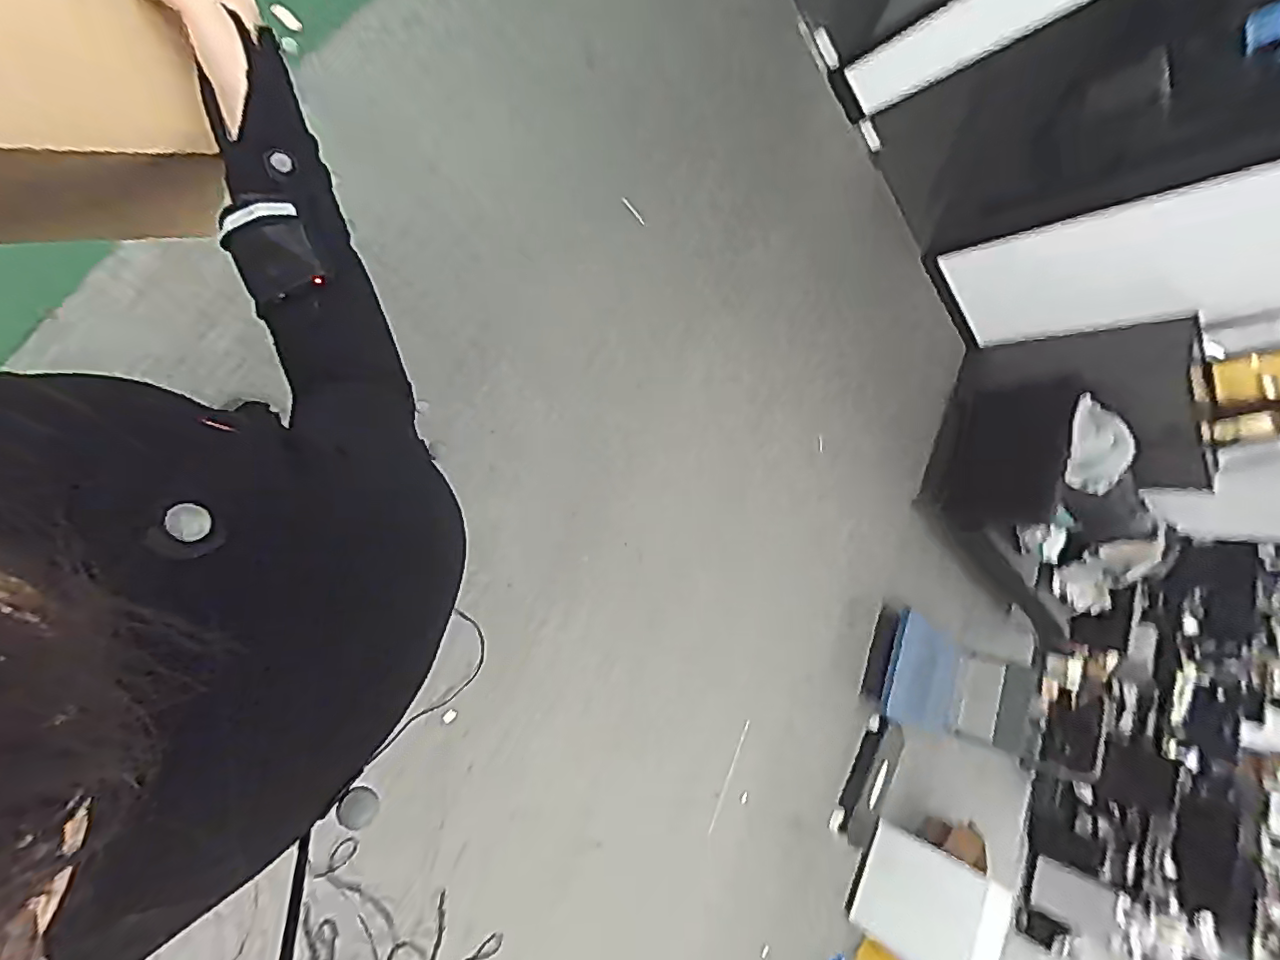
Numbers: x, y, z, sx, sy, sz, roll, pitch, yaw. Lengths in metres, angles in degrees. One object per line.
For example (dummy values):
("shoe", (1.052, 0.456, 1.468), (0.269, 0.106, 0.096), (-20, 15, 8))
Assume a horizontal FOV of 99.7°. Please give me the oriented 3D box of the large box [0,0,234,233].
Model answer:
("large box", (-0.576, -0.358, 0.371), (0.408, 0.320, 0.320), (-21, 112, -34))
